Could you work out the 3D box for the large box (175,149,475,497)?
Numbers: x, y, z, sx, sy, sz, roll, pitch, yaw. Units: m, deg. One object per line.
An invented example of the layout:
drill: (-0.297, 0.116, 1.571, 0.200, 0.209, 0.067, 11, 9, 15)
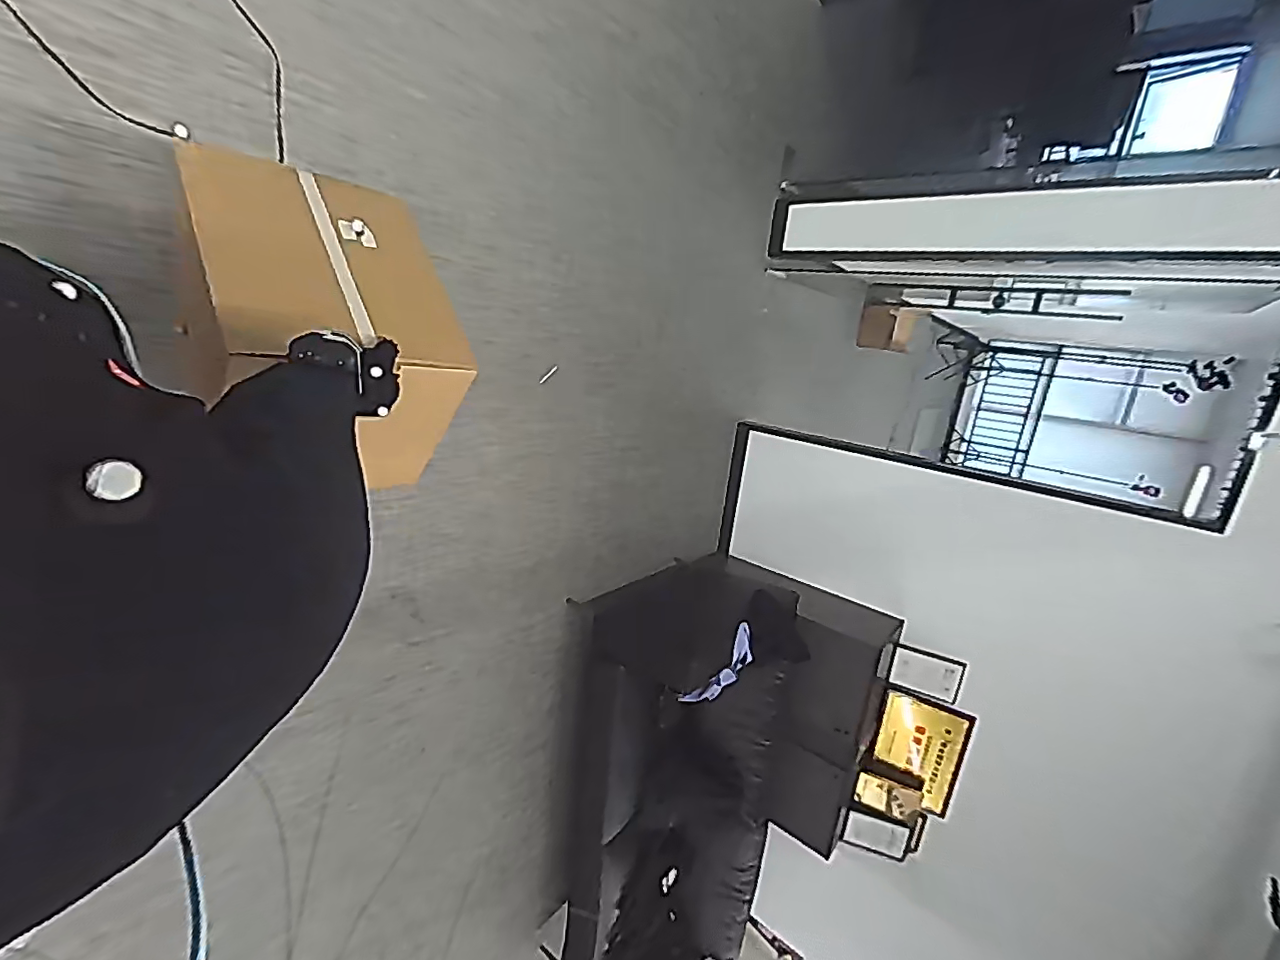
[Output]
large box: (-0.530, -0.231, 0.886, 0.320, 0.408, 0.320, -7, 150, -46)
